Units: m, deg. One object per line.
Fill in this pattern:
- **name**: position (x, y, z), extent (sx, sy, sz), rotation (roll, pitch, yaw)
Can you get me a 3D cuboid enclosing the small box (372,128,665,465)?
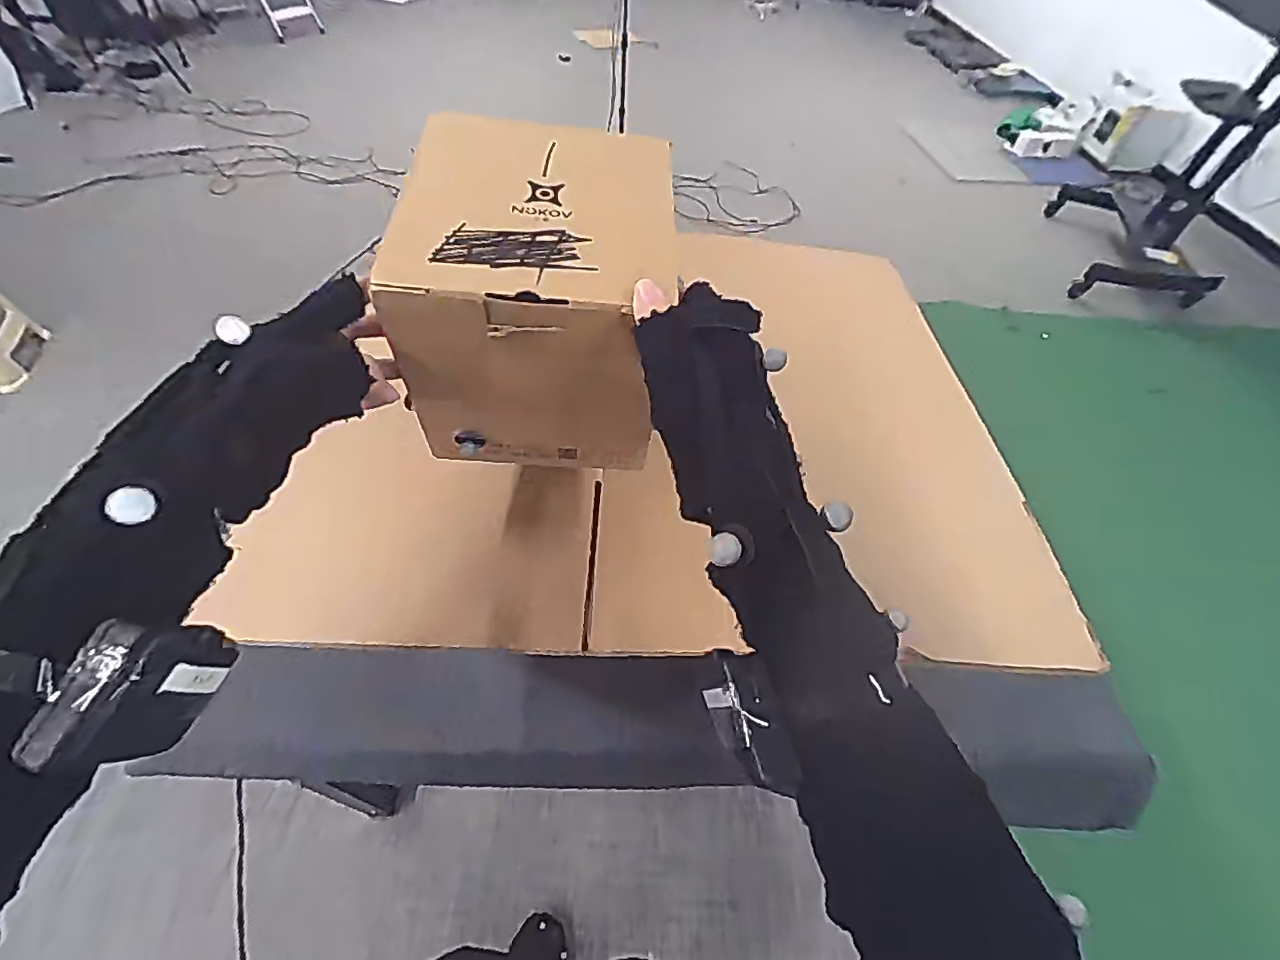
- **small box**: position (-0.072, -0.128, 0.411), extent (0.168, 0.176, 0.179), rotation (4, 58, -5)
